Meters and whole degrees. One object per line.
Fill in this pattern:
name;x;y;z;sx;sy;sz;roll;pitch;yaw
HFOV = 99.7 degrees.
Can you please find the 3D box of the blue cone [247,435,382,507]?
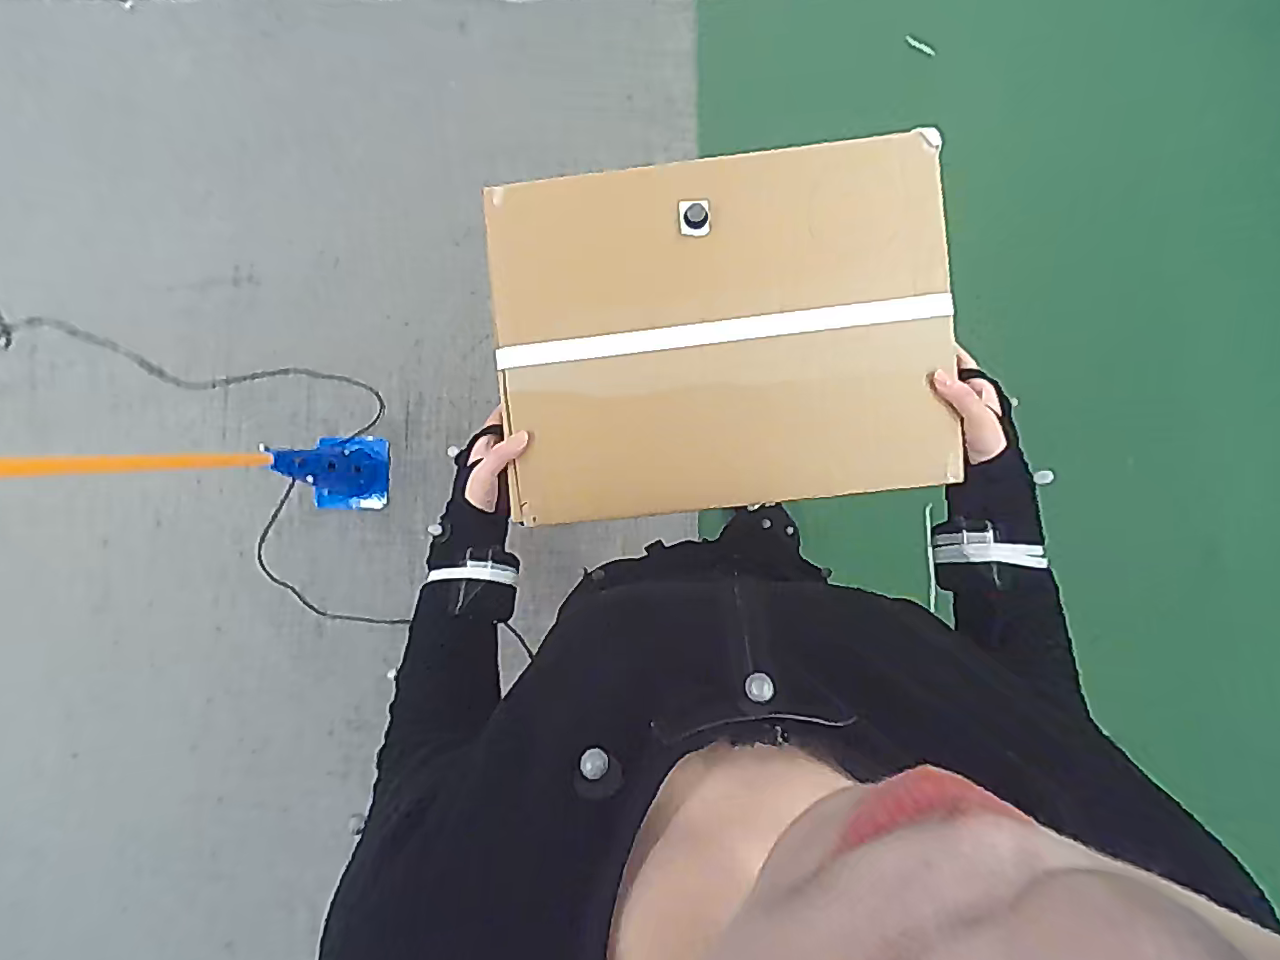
blue cone;-0.794;-0.034;1.308;0.192;0.380;0.193;-2;87;-2
